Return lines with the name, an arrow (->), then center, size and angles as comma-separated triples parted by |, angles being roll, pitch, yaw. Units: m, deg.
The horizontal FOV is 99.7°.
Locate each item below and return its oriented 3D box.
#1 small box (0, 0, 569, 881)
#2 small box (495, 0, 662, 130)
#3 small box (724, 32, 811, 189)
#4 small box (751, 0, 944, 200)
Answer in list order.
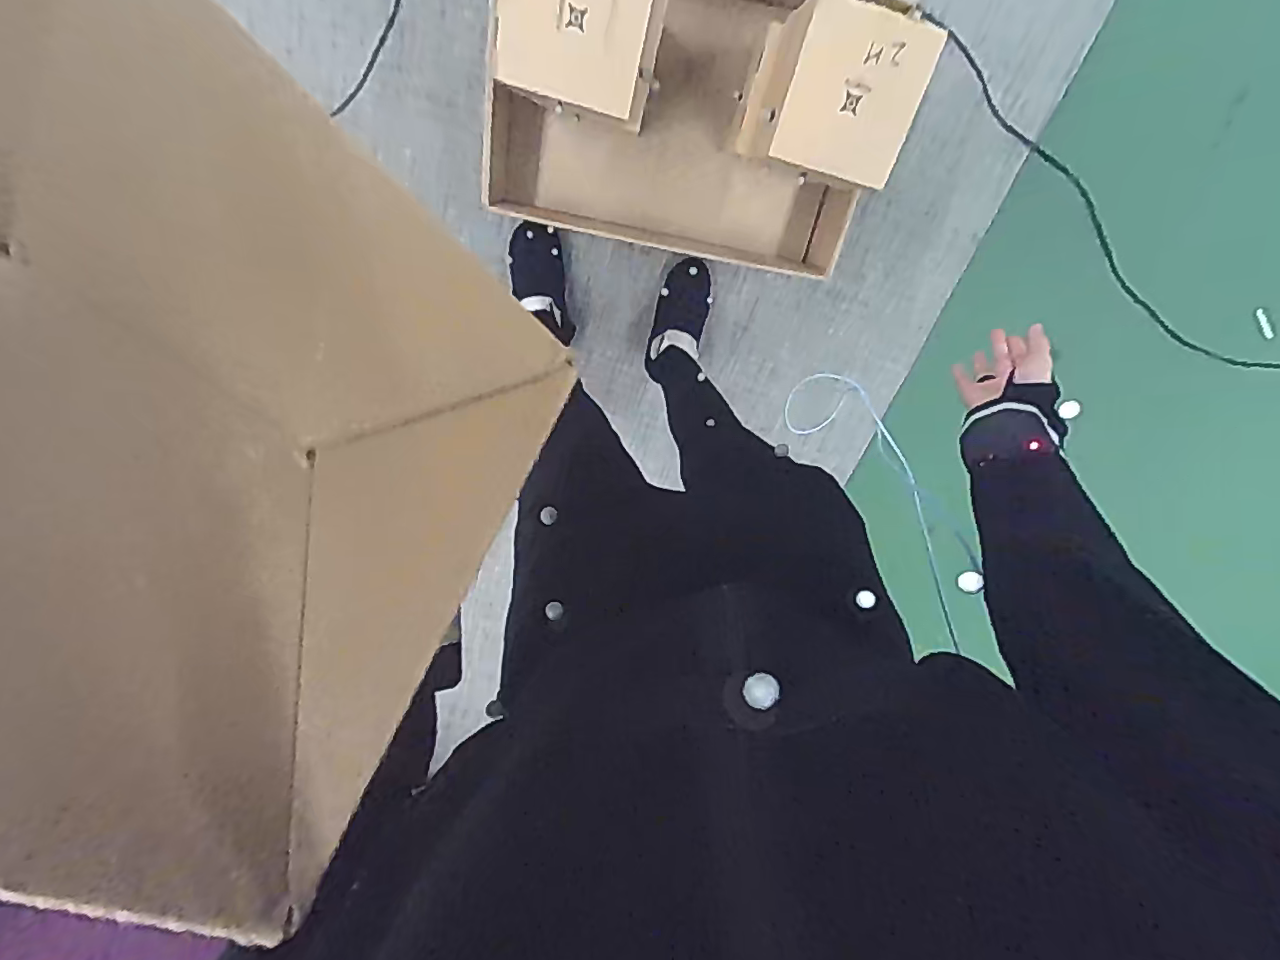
small box -> -0.153, -0.010, 0.163 | 0.176, 0.179, 0.168 | -18, 130, 43
small box -> -0.074, -0.577, 0.706 | 0.179, 0.176, 0.168 | 13, 119, -8
small box -> 0.250, -0.590, 0.888 | 0.179, 0.176, 0.168 | 14, 118, -7
small box -> 0.266, -0.506, 0.746 | 0.168, 0.176, 0.179 | 13, 117, -9
